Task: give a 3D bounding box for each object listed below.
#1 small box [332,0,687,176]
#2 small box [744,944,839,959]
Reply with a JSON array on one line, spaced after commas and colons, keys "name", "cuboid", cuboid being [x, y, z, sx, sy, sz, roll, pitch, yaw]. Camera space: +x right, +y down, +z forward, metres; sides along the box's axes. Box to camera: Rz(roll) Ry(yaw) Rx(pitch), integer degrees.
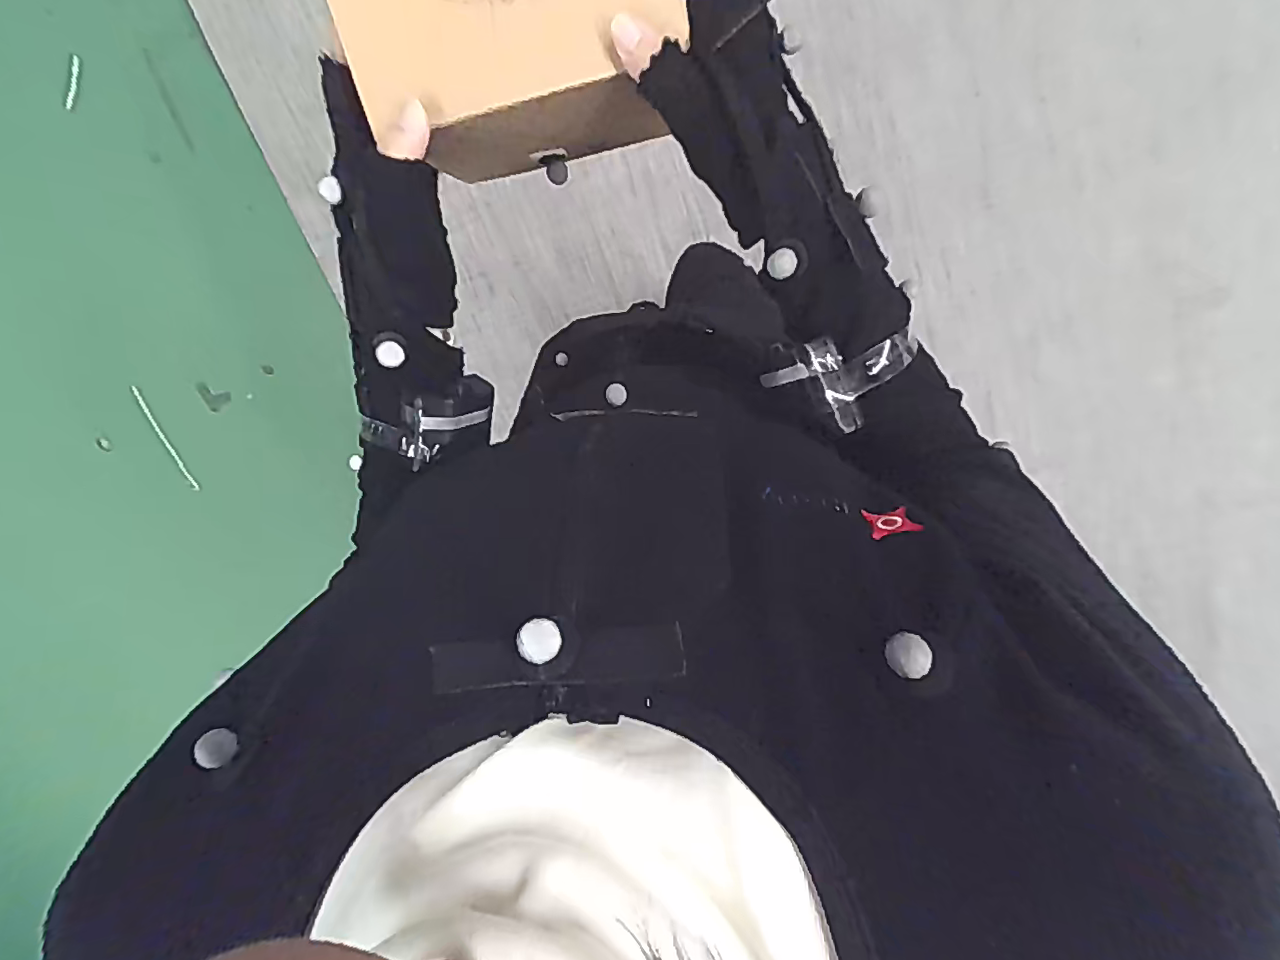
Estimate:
[{"name": "small box", "cuboid": [-0.072, -0.302, 0.314, 0.168, 0.176, 0.179, -11, 111, 6]}, {"name": "small box", "cuboid": [0.296, 0.971, 0.963, 0.179, 0.176, 0.168, -17, 108, 10]}]
